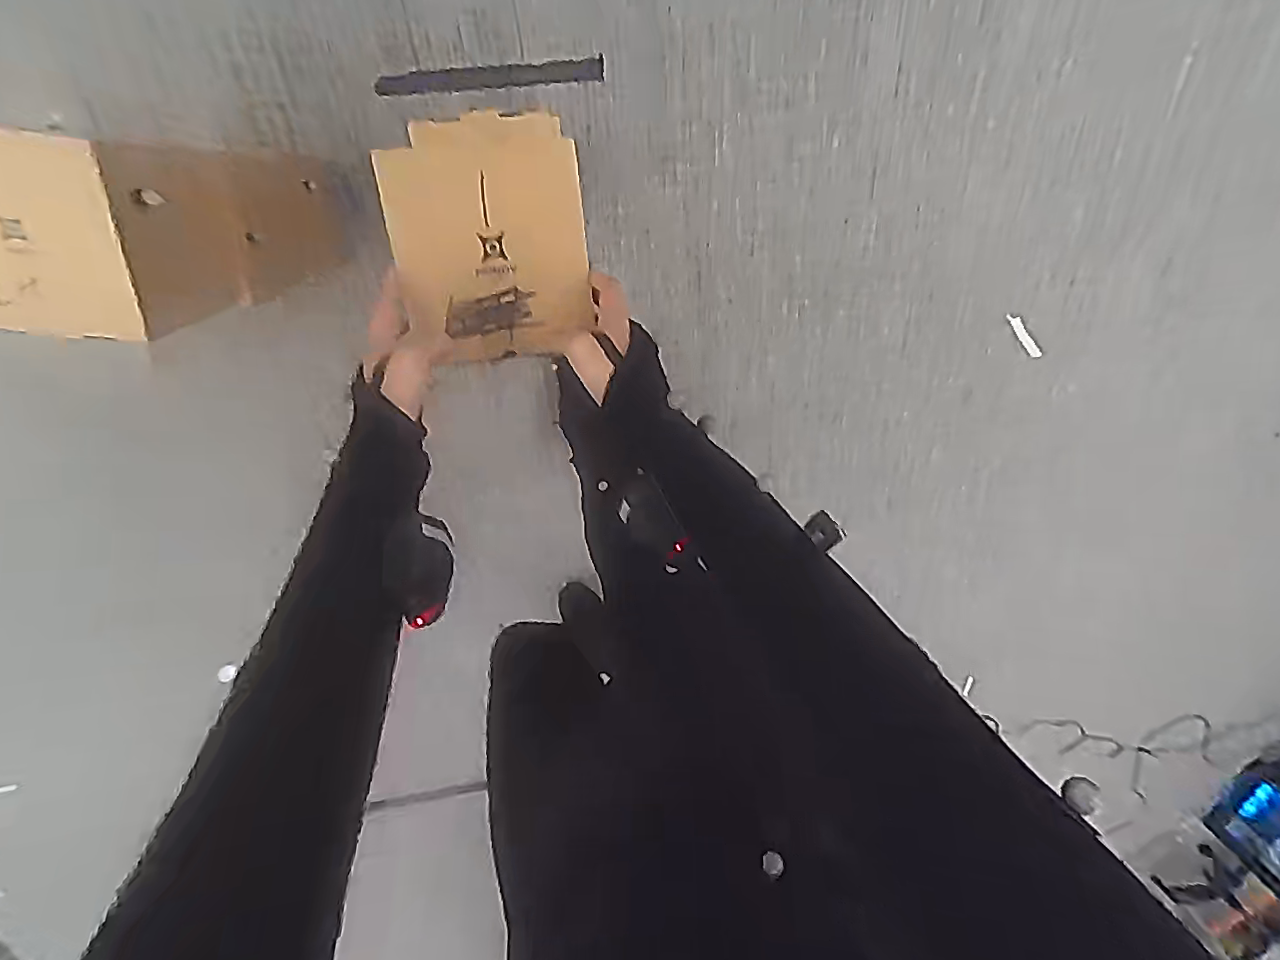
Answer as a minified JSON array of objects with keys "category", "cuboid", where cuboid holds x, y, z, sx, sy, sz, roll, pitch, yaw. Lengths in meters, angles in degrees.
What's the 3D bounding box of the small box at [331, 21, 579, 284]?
[{"category":"small box","cuboid":[-0.147,-0.284,0.501,0.168,0.176,0.179,-7,112,-6]}]
